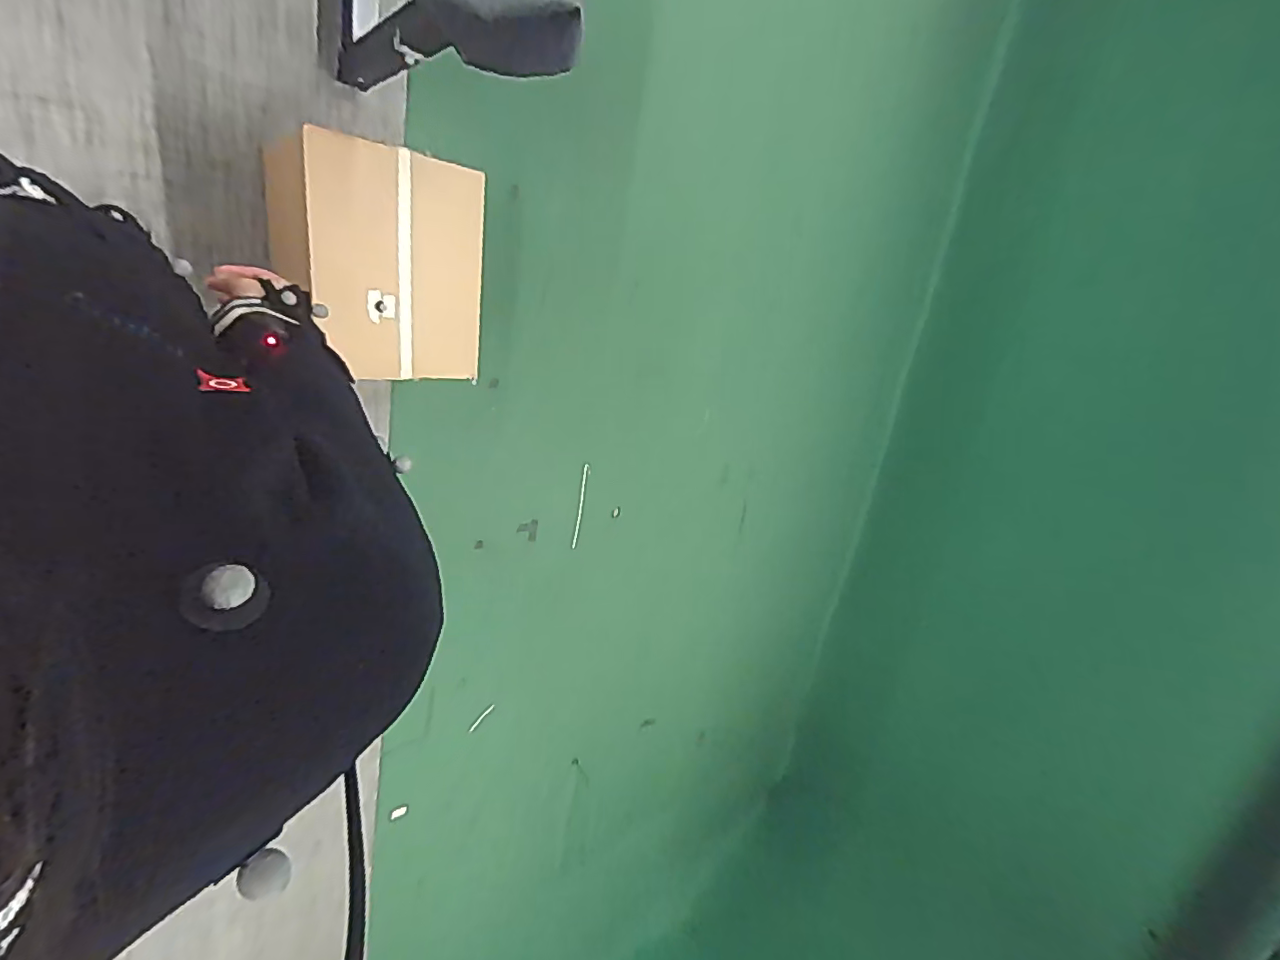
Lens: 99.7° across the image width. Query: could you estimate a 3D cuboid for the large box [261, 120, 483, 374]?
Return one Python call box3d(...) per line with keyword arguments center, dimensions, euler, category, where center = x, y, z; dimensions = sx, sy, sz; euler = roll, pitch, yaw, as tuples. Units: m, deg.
box3d(center=(-0.539, -0.446, 1.099), dimensions=(0.320, 0.320, 0.408), euler=(-10, 116, -42), category="large box")
